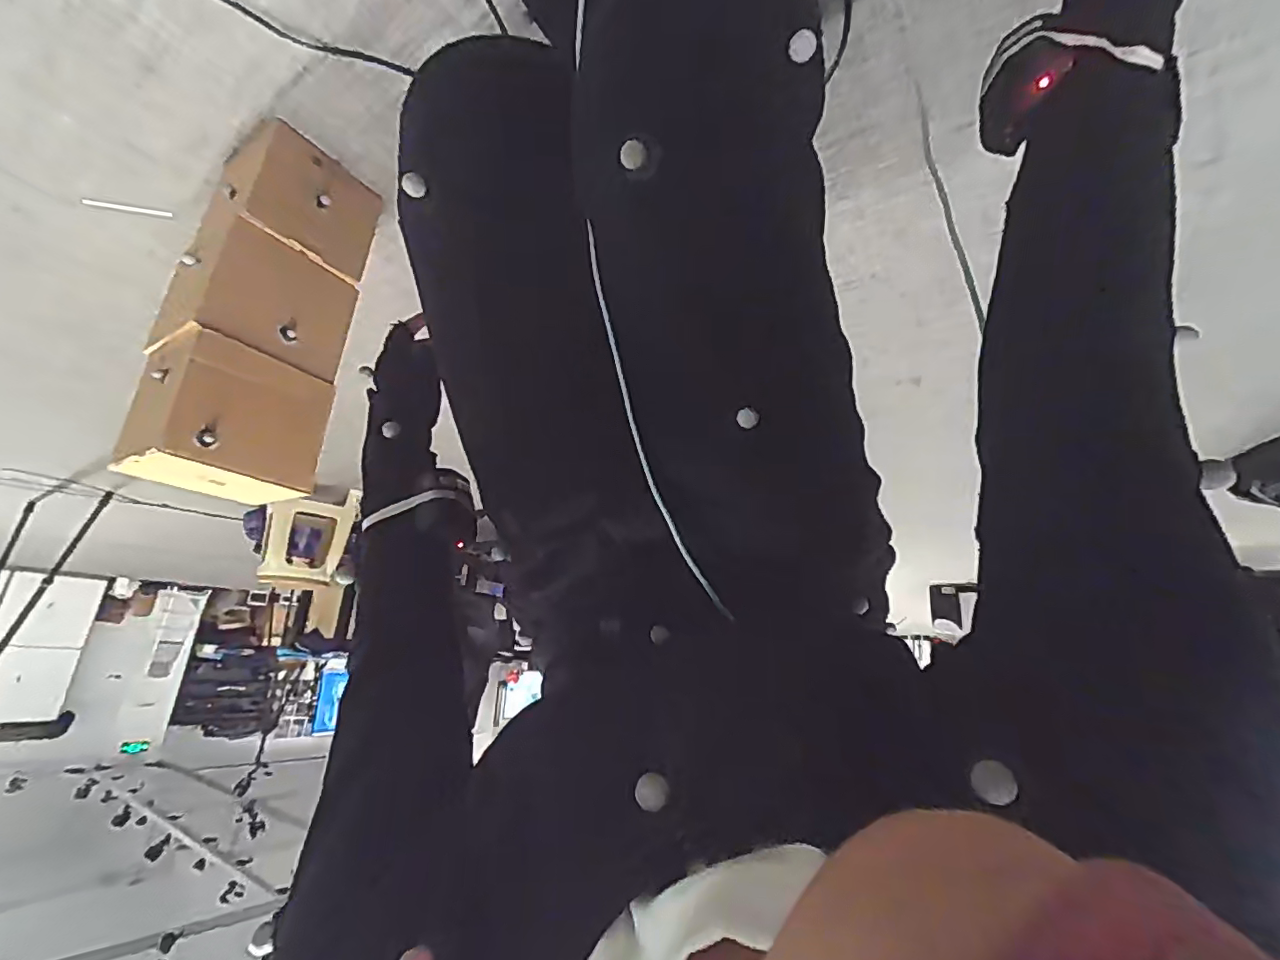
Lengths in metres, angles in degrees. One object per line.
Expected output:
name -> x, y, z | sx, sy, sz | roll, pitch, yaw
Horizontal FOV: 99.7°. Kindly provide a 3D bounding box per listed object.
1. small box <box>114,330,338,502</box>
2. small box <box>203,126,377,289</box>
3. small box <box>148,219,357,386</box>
small box -> -0.552, -0.078, 0.740 | 0.168, 0.176, 0.179 | -7, 158, 31
small box -> -0.531, -0.391, 0.831 | 0.179, 0.176, 0.168 | -8, 158, 31
small box -> -0.547, -0.234, 0.783 | 0.168, 0.176, 0.179 | -7, 158, 31
